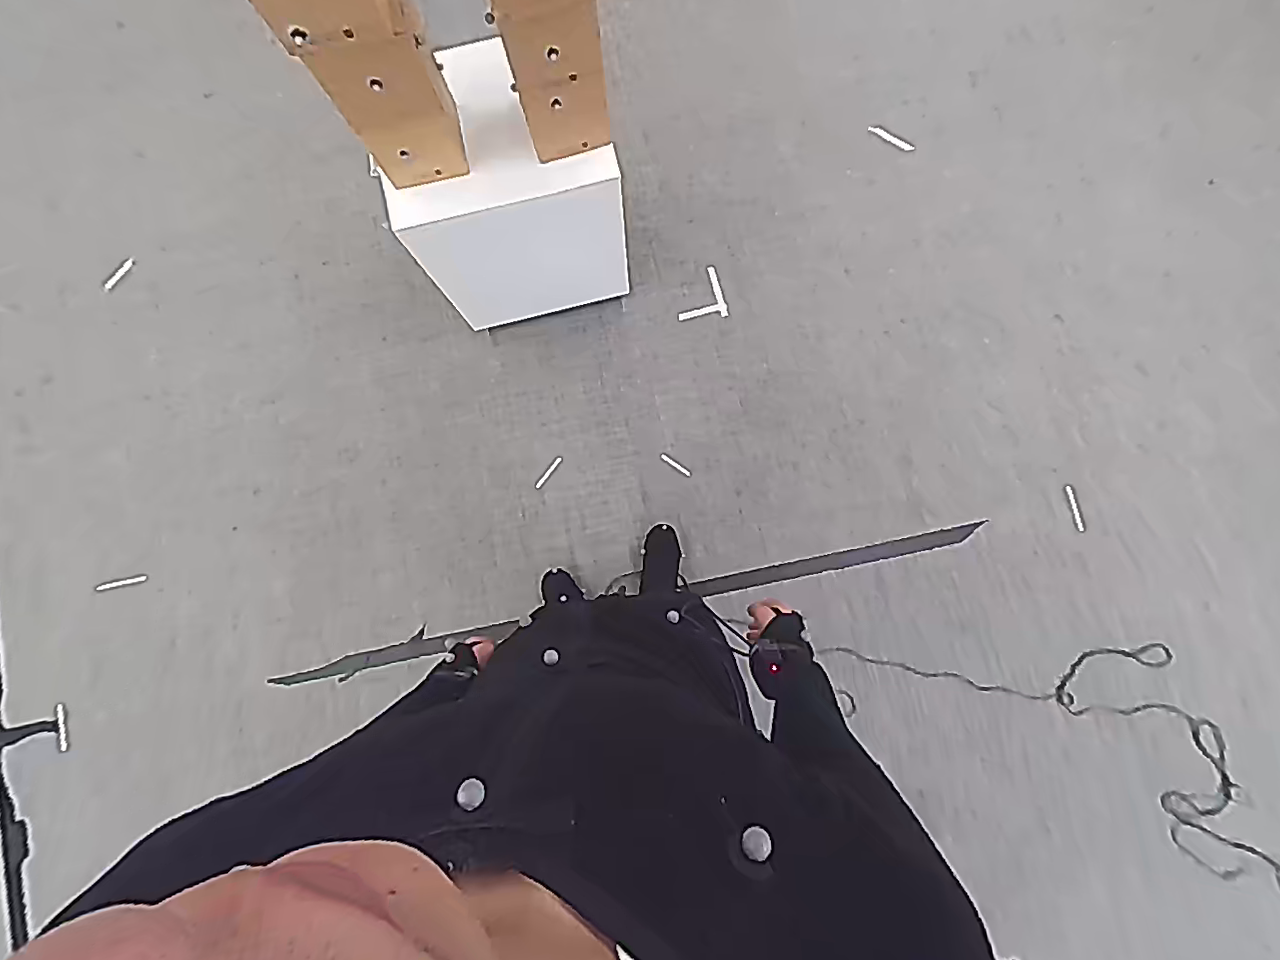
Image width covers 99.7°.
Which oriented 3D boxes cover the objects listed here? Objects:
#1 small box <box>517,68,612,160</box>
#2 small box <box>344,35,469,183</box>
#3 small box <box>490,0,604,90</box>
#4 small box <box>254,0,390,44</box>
[{"bbox_3d":[-0.160,-0.795,1.091,0.168,0.176,0.179,-16,83,1],"label":"small box"},{"bbox_3d":[-0.463,-0.734,1.093,0.168,0.176,0.179,-13,83,-1],"label":"small box"},{"bbox_3d":[-0.165,-0.814,0.927,0.168,0.176,0.179,-15,83,0],"label":"small box"},{"bbox_3d":[-0.476,-0.765,0.766,0.168,0.176,0.179,-10,83,0],"label":"small box"}]
